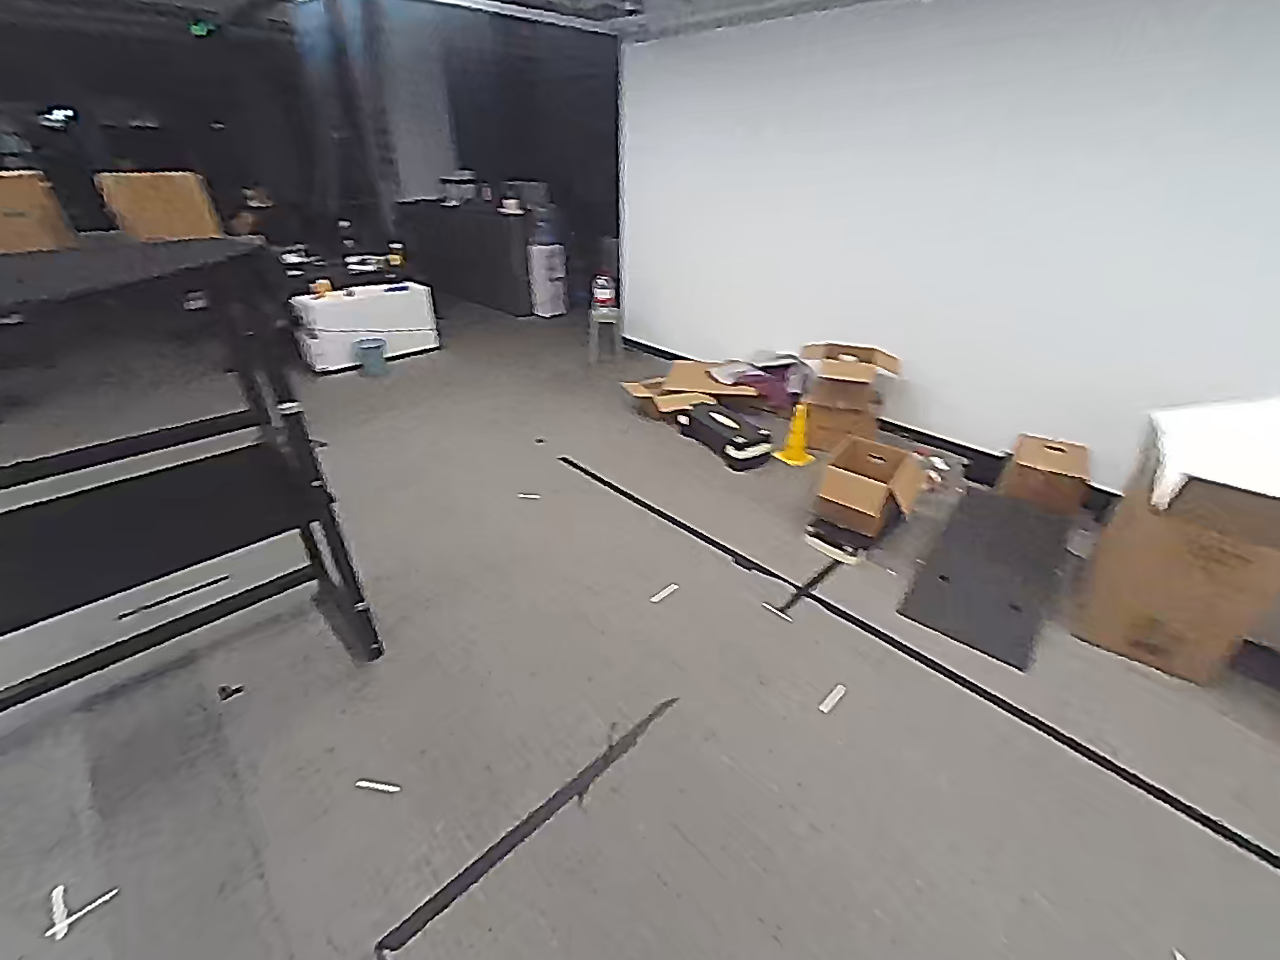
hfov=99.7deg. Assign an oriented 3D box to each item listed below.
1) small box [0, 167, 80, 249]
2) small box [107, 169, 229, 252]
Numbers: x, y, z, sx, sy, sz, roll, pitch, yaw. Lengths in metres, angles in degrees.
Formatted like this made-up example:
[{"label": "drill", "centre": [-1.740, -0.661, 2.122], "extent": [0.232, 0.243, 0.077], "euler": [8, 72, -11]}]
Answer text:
[{"label": "small box", "centre": [-1.551, -0.679, 1.351], "extent": [0.168, 0.176, 0.179], "euler": [-27, 41, -37]}, {"label": "small box", "centre": [-1.151, -0.661, 1.326], "extent": [0.179, 0.176, 0.168], "euler": [25, 39, 36]}]
